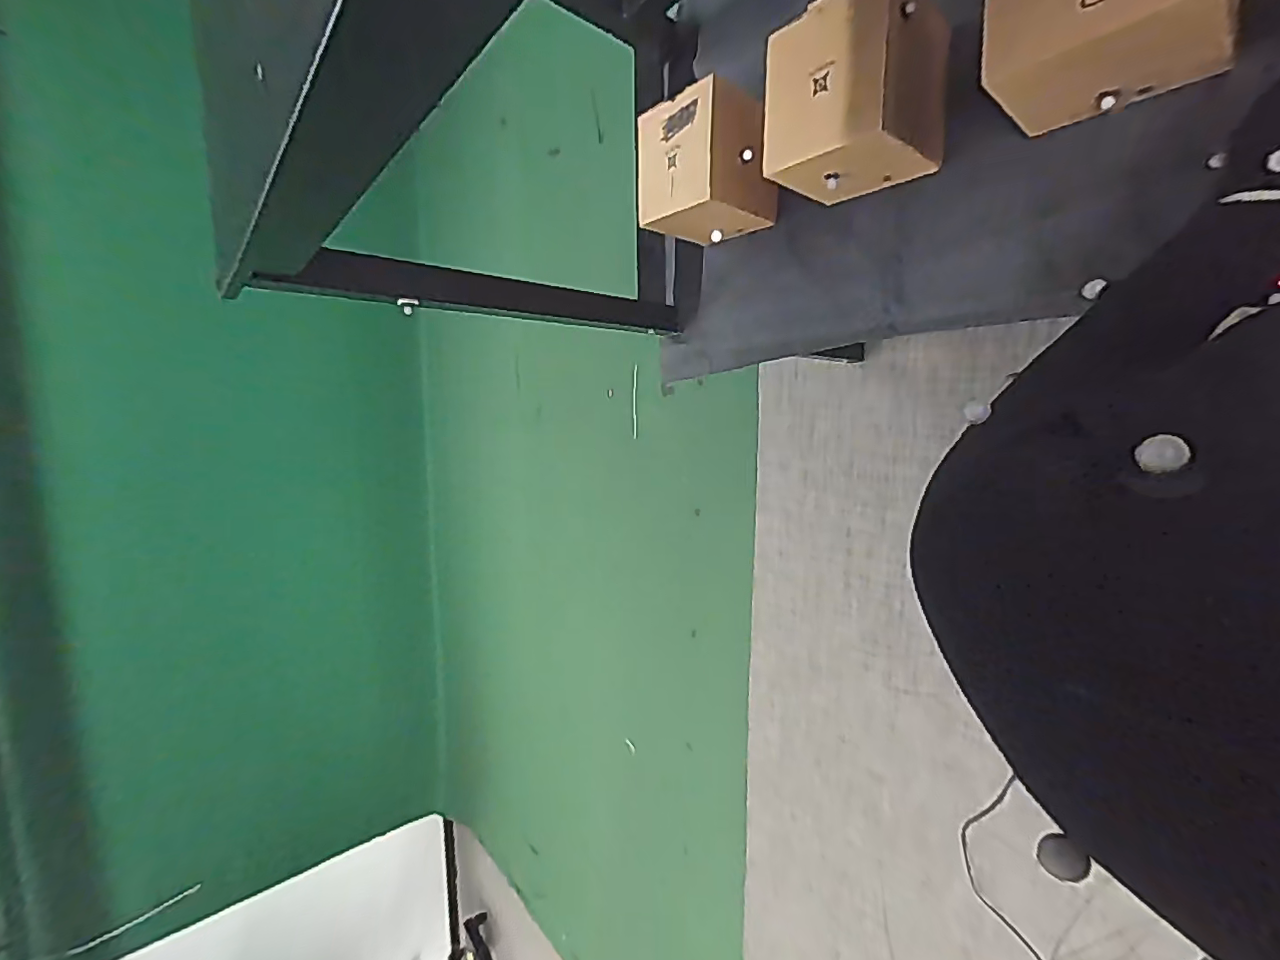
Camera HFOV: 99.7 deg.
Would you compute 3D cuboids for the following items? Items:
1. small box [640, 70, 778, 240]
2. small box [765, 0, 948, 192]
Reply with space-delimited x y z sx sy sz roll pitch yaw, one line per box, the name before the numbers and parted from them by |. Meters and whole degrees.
small box | 0.117 -0.522 0.901 0.168 0.176 0.179 9 102 49
small box | 0.284 -0.501 0.712 0.168 0.176 0.179 8 101 49
